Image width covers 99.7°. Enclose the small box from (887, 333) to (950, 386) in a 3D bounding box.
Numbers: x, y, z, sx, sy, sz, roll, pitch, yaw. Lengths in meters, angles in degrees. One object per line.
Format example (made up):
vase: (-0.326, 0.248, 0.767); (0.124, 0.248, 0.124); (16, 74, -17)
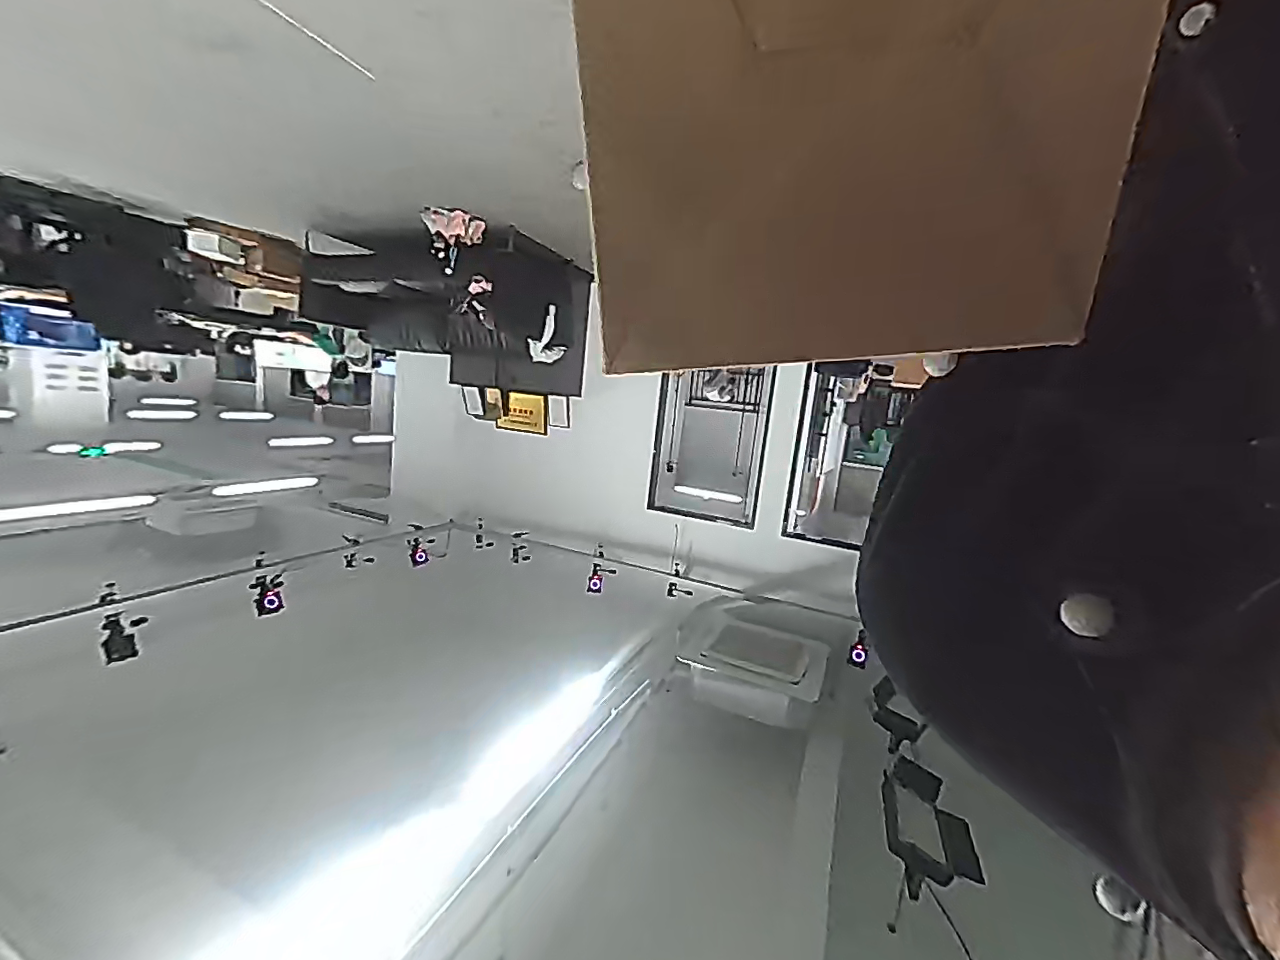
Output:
small box: (1.033, -0.450, 2.014); (0.179, 0.176, 0.168); (11, -170, 24)
